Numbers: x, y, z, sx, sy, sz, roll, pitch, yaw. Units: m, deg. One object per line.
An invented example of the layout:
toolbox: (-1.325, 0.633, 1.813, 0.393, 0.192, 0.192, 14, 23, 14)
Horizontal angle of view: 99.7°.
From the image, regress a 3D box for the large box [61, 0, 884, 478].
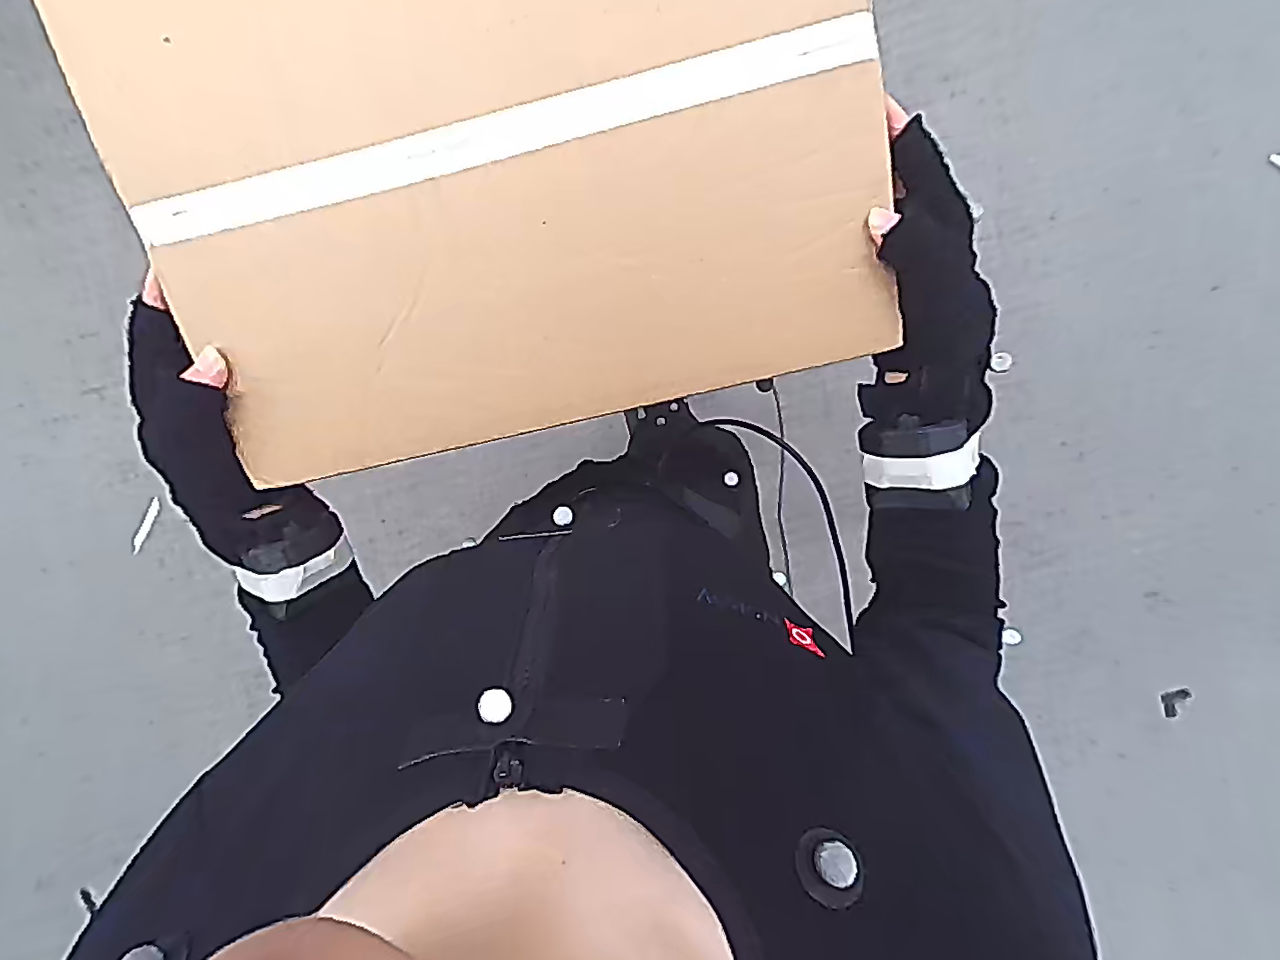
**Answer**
large box: (-0.077, -0.230, 0.439, 0.408, 0.320, 0.320, -12, 106, 4)
